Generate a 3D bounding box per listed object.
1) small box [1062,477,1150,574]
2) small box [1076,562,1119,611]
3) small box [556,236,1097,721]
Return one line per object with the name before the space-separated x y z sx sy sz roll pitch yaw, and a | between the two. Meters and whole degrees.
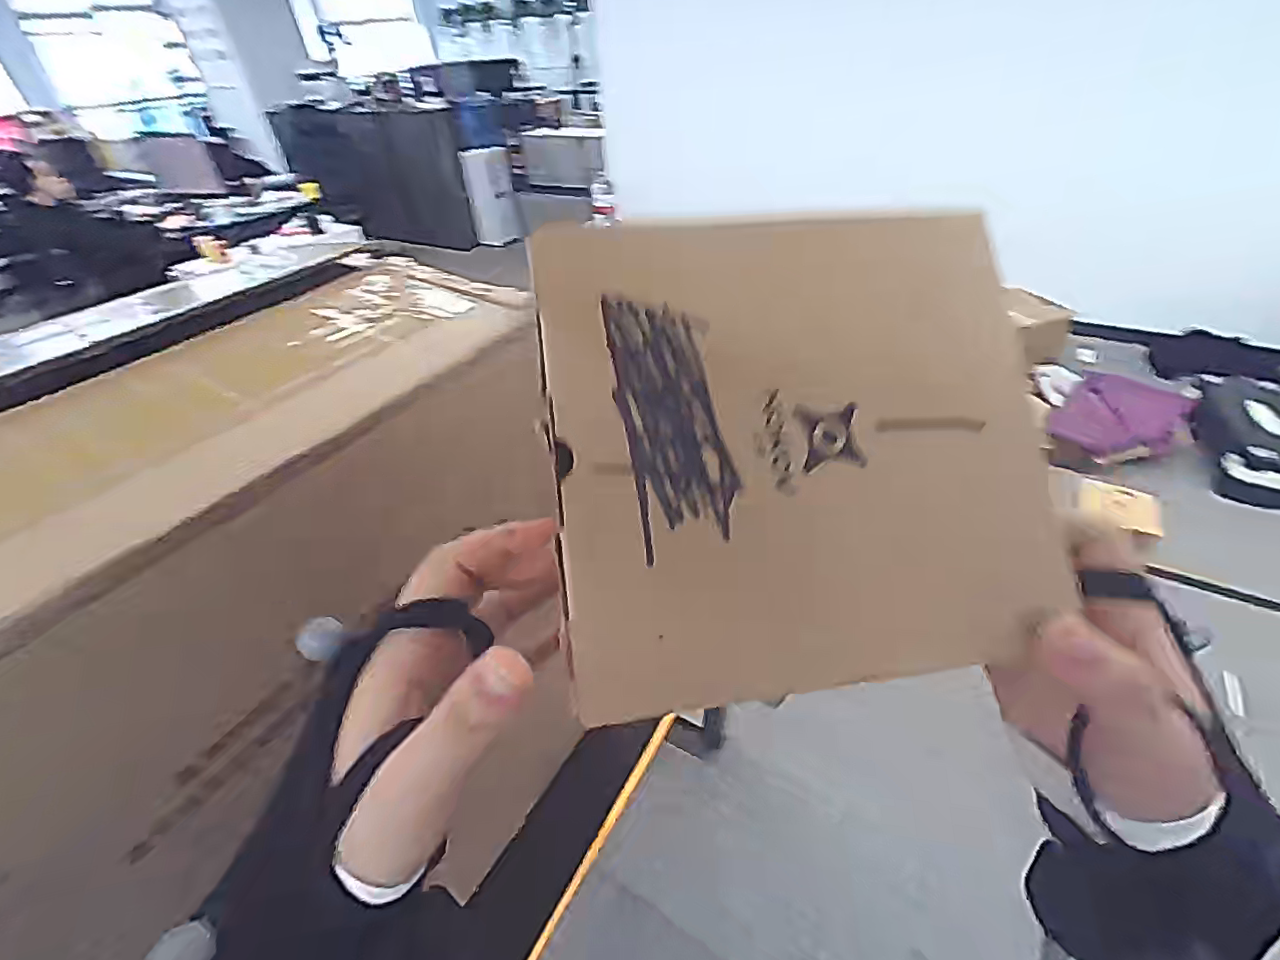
small box | 1.241 0.125 1.470 0.168 0.176 0.179 19 46 27
small box | 1.253 0.250 1.576 0.168 0.176 0.179 19 45 27
small box | 0.058 0.006 0.270 0.179 0.176 0.168 -5 81 -5
